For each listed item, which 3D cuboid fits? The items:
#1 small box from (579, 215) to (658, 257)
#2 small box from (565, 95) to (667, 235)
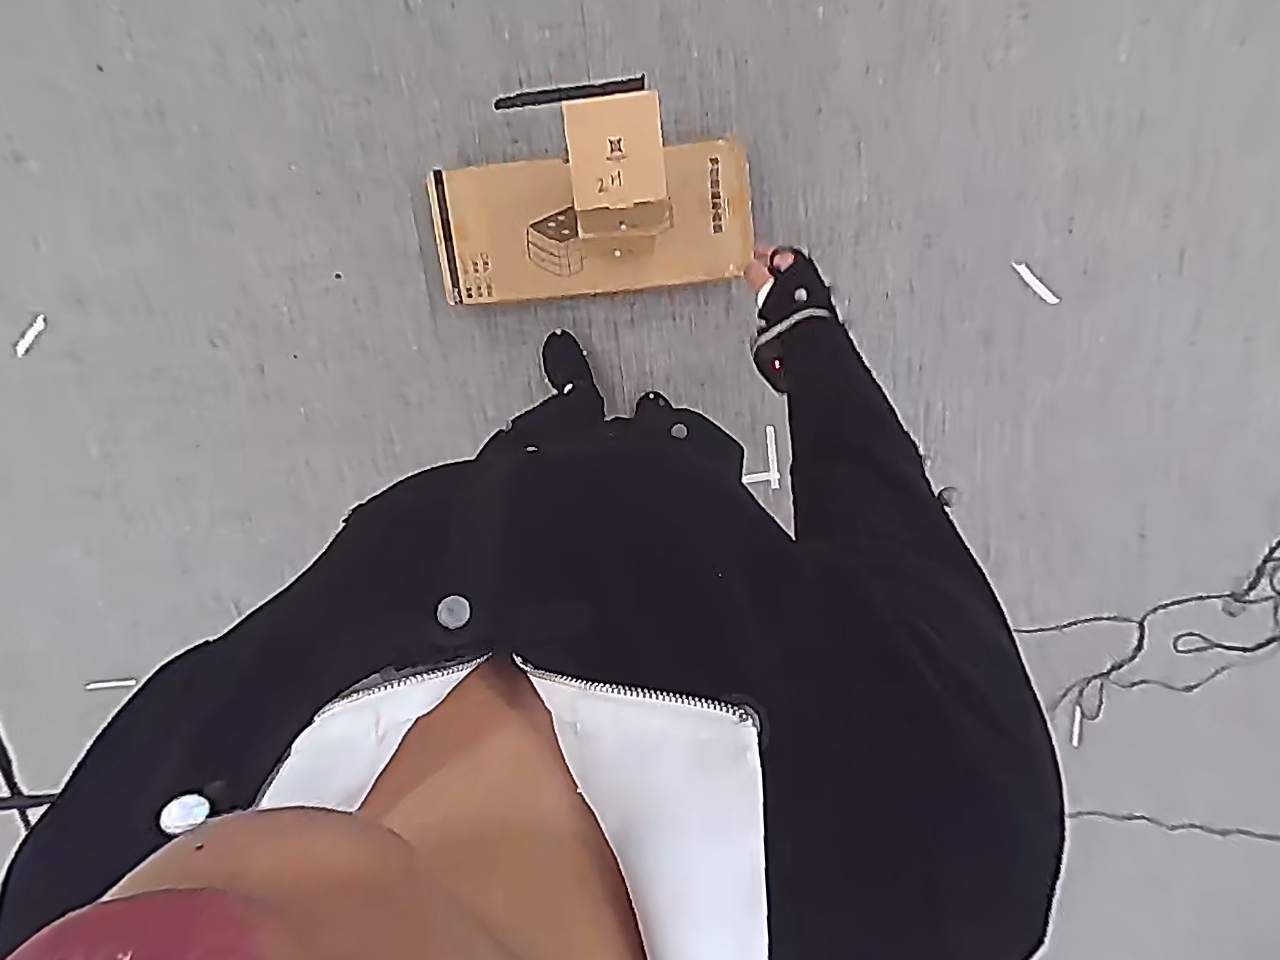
[{"bbox_3d":[-0.047,-0.598,1.180,0.168,0.176,0.179,-2,103,1],"label":"small box"},{"bbox_3d":[-0.042,-0.579,1.015,0.168,0.176,0.179,-6,102,2],"label":"small box"}]
